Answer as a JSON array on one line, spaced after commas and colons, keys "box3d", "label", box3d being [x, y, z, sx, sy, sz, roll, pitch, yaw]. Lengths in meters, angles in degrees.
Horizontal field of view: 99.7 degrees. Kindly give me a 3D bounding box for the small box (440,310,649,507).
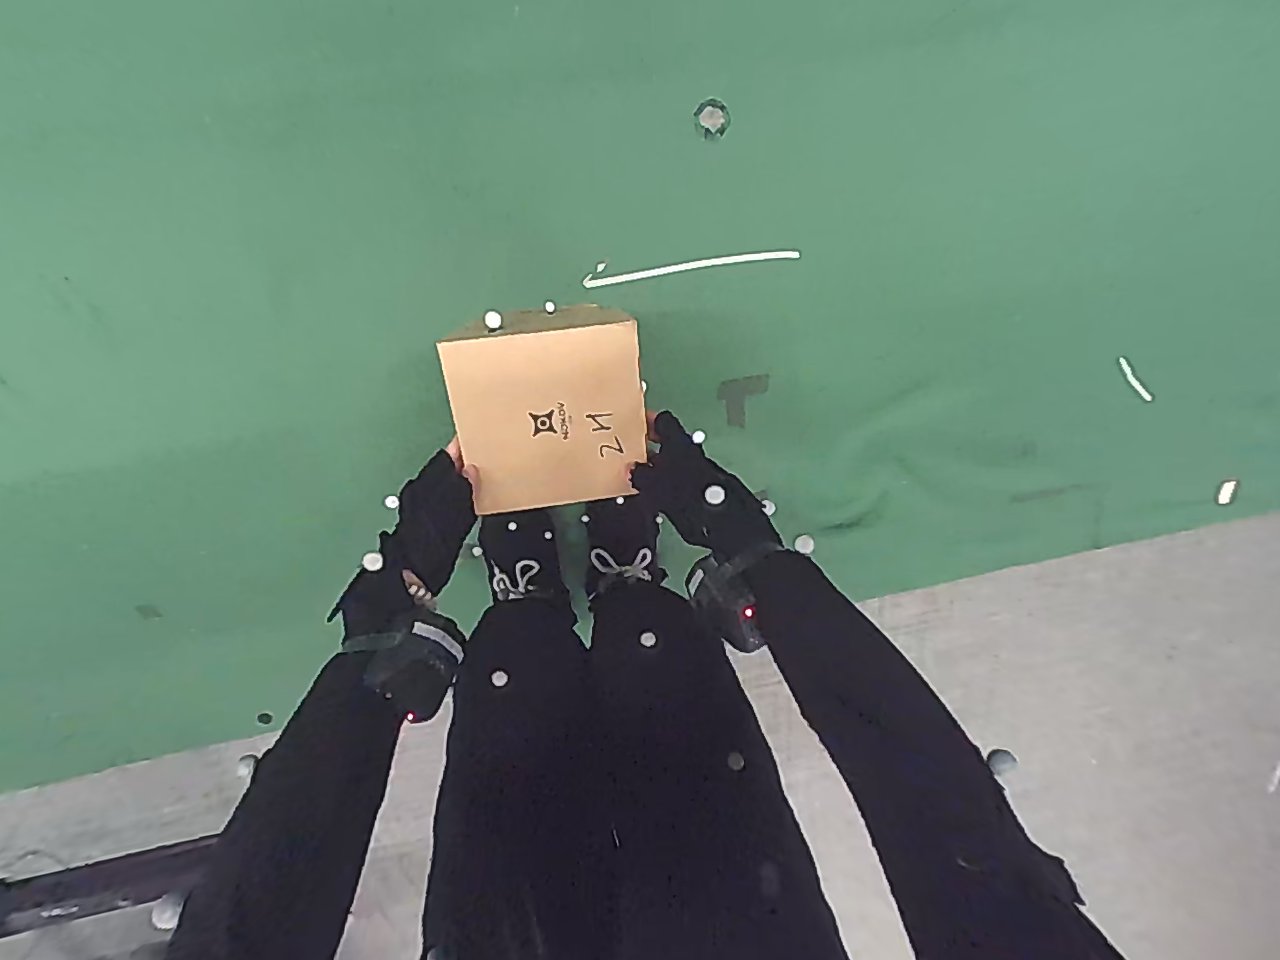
[{"box3d": [-0.093, -0.086, 0.577, 0.179, 0.176, 0.168, -8, 112, -6], "label": "small box"}]
